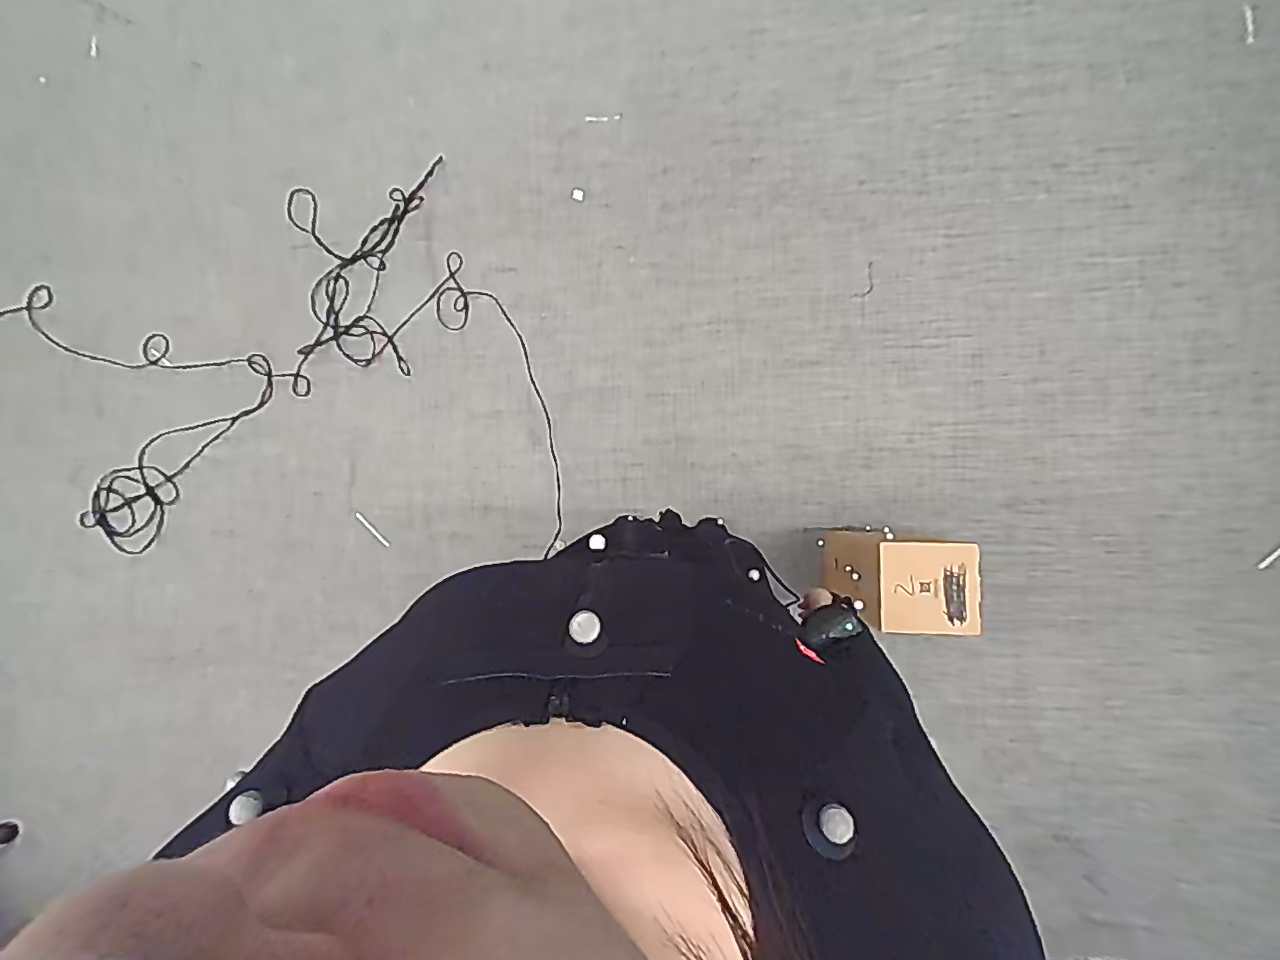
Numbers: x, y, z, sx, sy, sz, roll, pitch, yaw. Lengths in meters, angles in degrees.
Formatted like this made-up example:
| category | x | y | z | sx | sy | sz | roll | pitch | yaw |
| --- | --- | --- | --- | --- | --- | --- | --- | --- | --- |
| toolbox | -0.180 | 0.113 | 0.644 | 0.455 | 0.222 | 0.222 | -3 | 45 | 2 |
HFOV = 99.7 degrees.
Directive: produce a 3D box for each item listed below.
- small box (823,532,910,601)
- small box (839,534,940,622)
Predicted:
| category | x | y | z | sx | sy | sz | roll | pitch | yaw |
| --- | --- | --- | --- | --- | --- | --- | --- | --- | --- |
| small box | 0.573 | 0.220 | 1.383 | 0.179 | 0.176 | 0.168 | 0 | 87 | 4 |
| small box | 0.553 | 0.213 | 1.219 | 0.168 | 0.176 | 0.179 | 1 | 87 | 6 |
